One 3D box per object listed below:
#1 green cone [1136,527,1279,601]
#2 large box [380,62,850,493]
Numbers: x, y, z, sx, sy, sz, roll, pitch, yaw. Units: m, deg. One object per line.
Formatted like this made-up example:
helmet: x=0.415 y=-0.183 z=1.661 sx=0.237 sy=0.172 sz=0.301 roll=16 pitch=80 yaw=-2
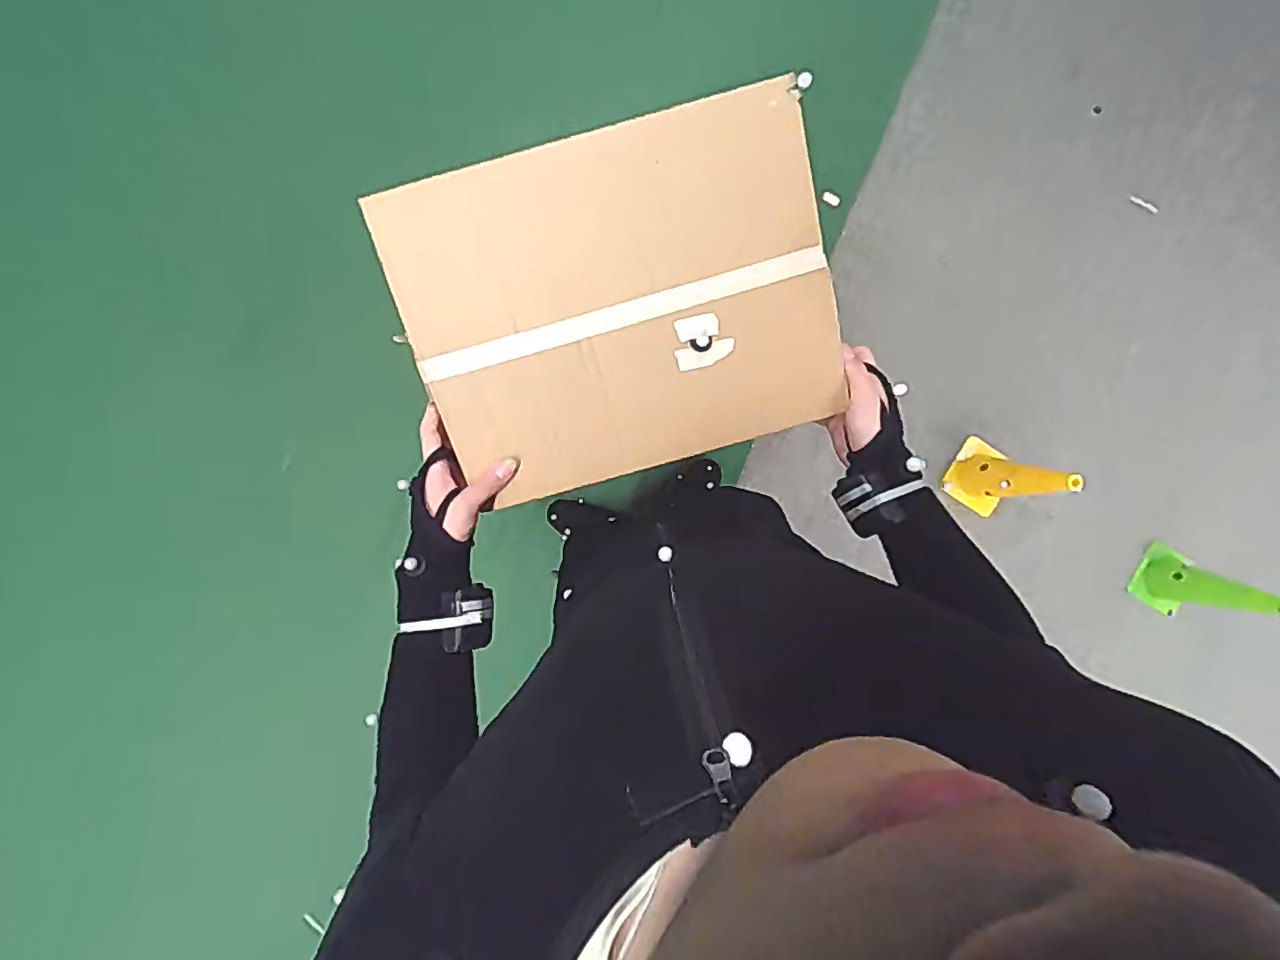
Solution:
green cone: x=1.774 y=0.287 z=1.621 sx=0.202 sy=0.368 sz=0.200 roll=28 pitch=91 yaw=-4
large box: x=-0.020 y=-0.218 z=0.670 sx=0.408 sy=0.320 sz=0.320 roll=-16 pitch=107 yaw=0
